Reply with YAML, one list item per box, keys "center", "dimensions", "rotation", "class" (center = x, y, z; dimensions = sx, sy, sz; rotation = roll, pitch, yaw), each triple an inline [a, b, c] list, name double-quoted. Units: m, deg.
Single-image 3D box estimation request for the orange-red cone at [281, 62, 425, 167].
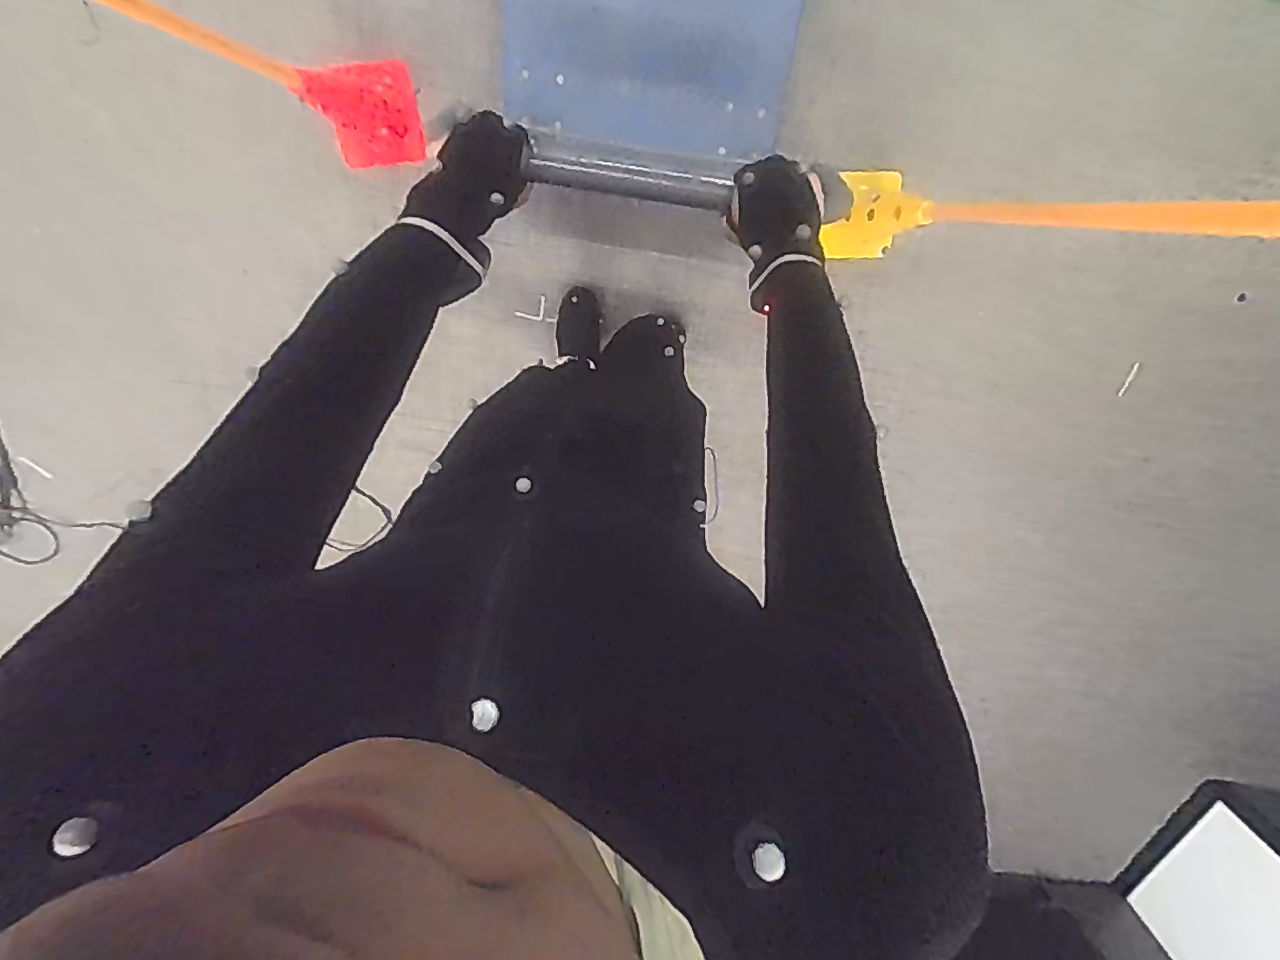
- center: [-0.604, -0.764, 1.087]
  dimensions: [0.199, 0.360, 0.198]
  rotation: [-4, 115, 1]
  class: "orange-red cone"
